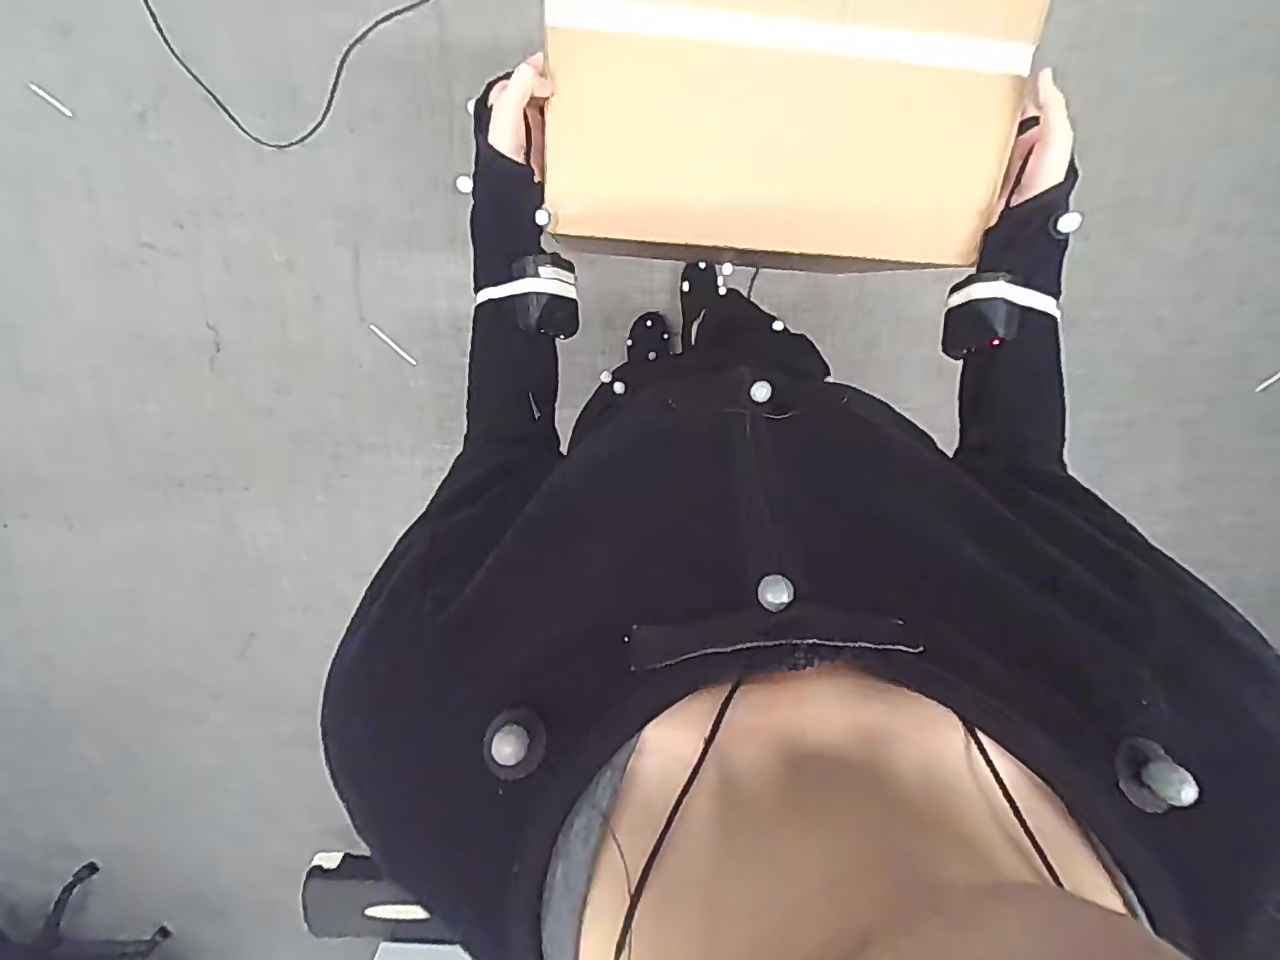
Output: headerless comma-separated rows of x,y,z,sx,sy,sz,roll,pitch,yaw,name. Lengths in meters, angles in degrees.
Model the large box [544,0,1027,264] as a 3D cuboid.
0.114,-0.411,0.591,0.408,0.320,0.320,3,109,-4,large box
